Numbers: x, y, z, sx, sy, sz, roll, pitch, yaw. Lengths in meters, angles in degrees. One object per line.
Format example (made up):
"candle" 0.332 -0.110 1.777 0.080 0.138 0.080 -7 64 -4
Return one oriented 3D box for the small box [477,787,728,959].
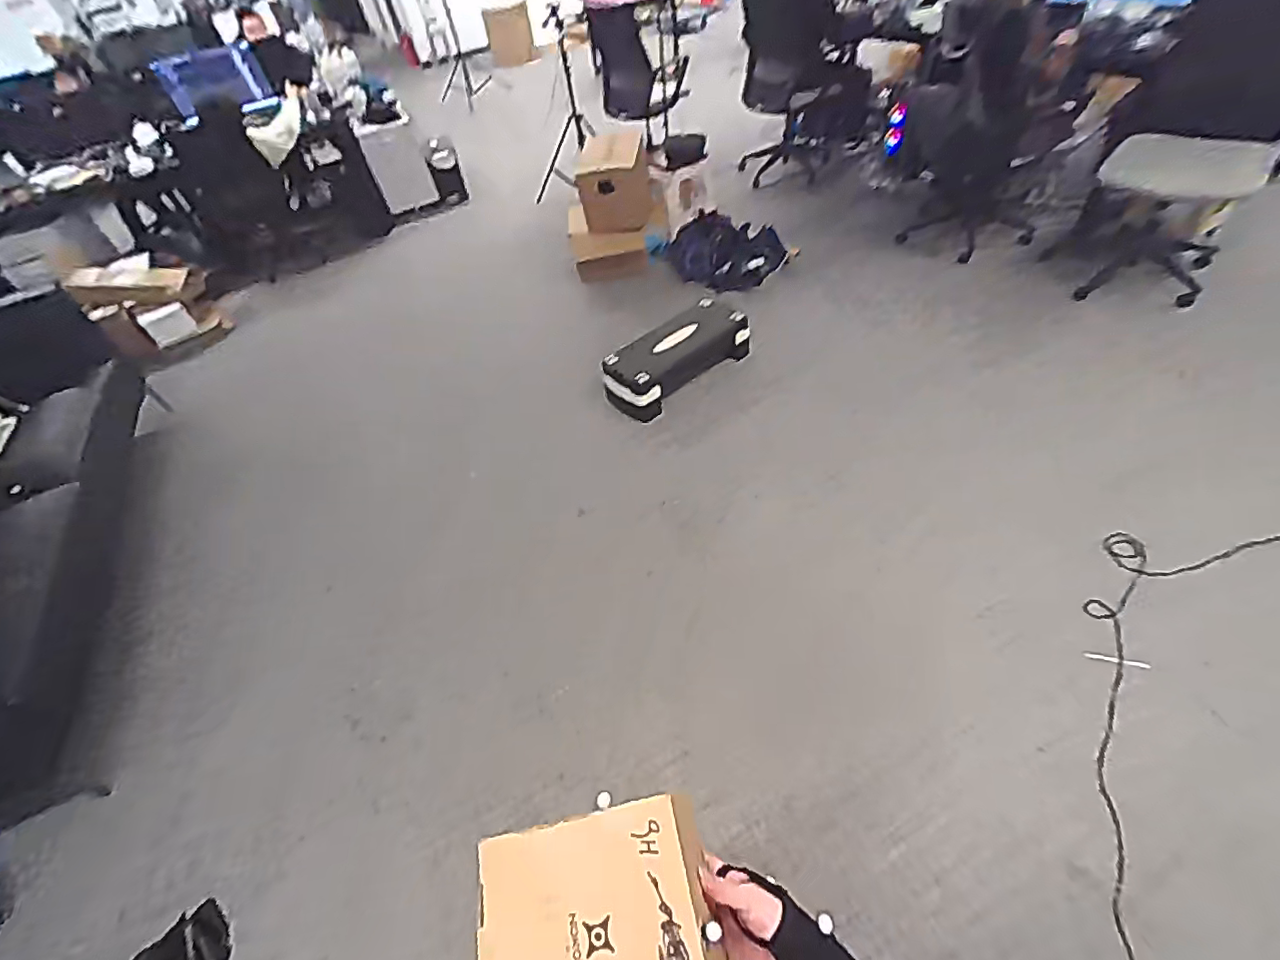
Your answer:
"small box" -0.029 0.392 0.494 0.179 0.176 0.168 -16 59 4
